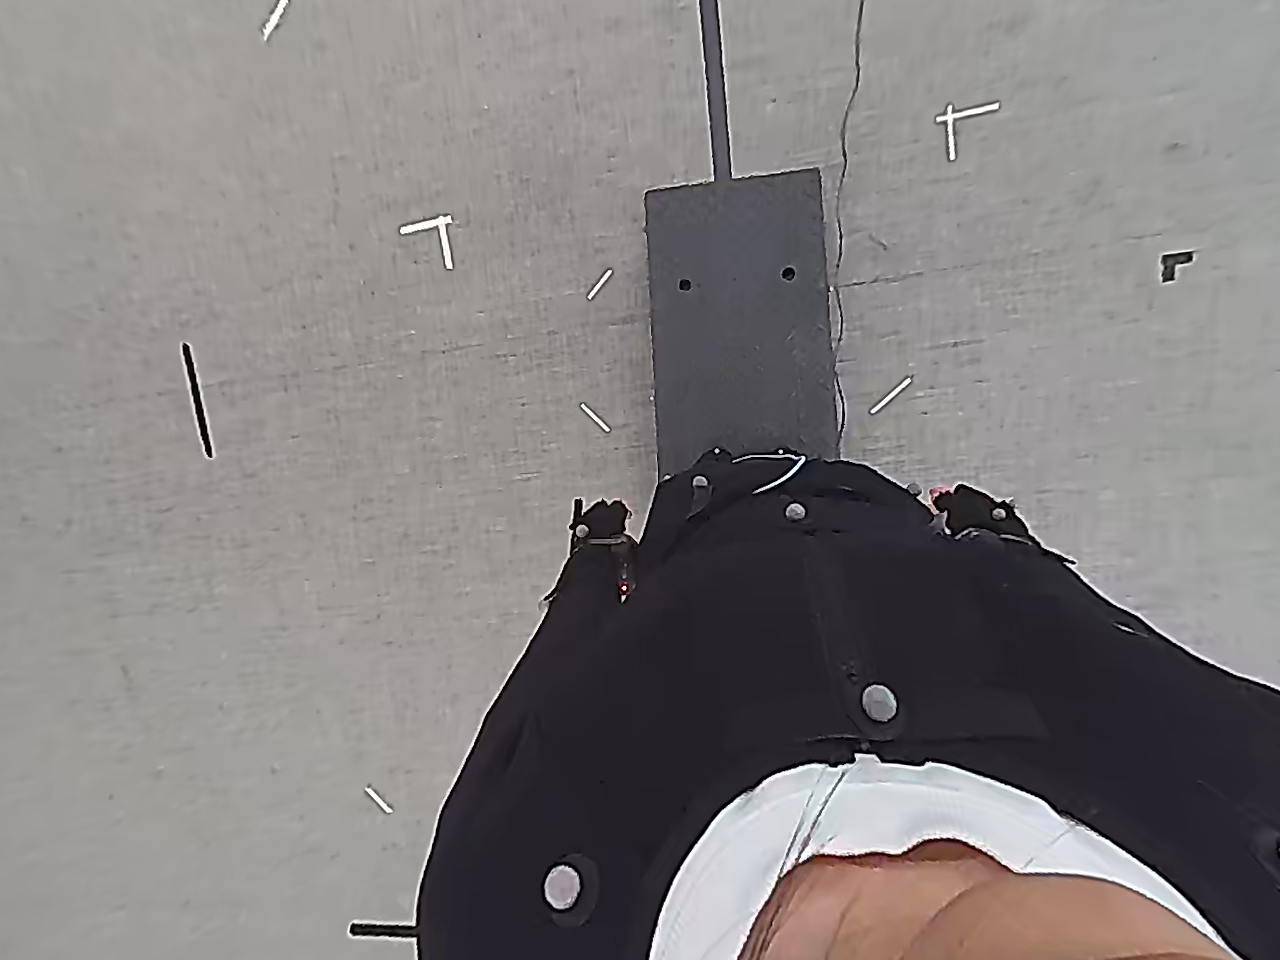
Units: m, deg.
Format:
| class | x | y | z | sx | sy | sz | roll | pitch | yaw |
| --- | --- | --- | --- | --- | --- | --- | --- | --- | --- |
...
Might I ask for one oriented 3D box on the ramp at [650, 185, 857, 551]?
| class | x | y | z | sx | sy | sz | roll | pitch | yaw |
| --- | --- | --- | --- | --- | --- | --- | --- | --- | --- |
| ramp | 0.297 | -0.315 | 1.509 | 0.509 | 0.206 | 0.991 | -6 | 93 | 11 |
